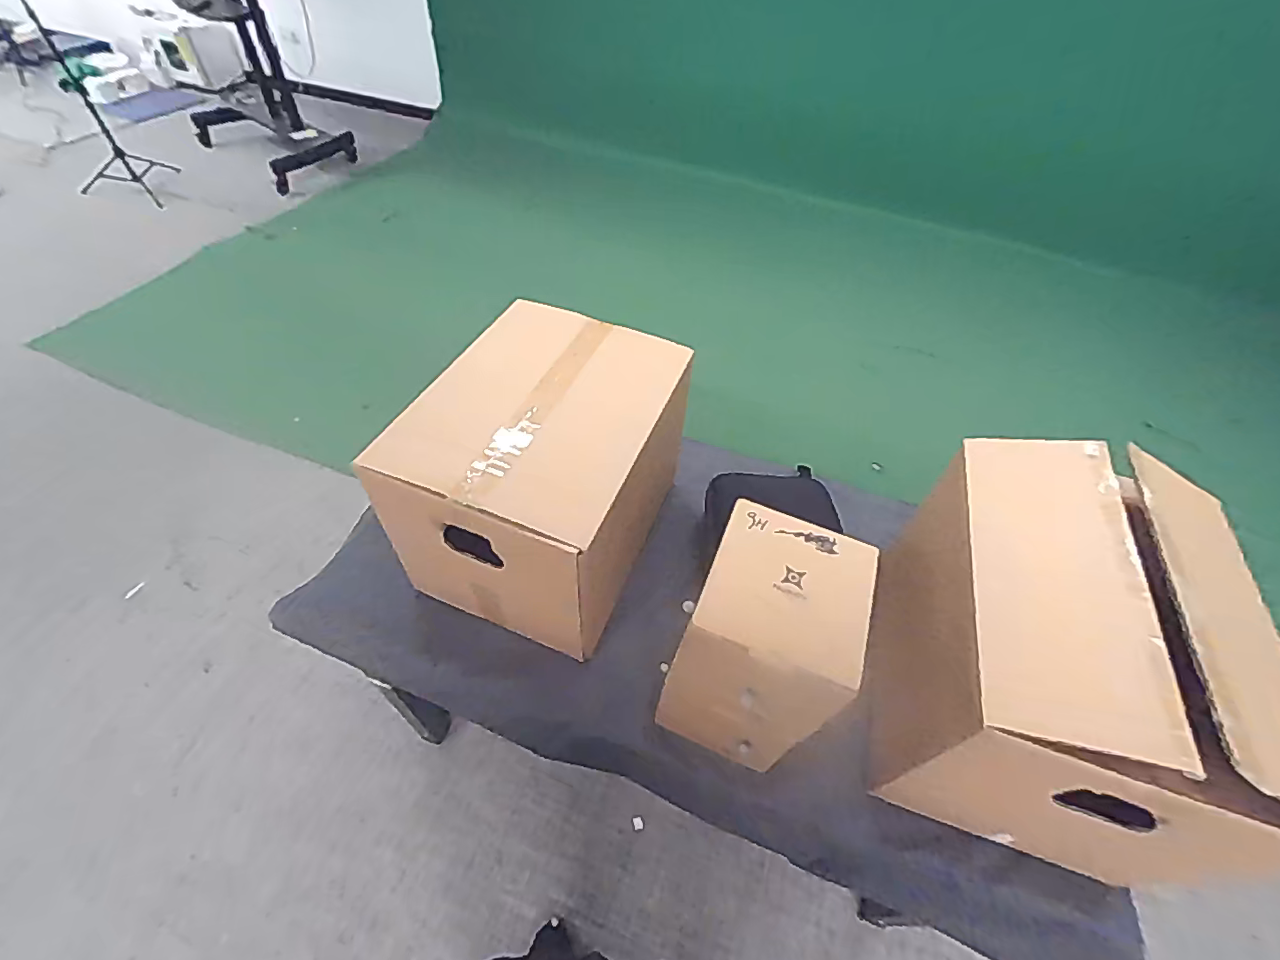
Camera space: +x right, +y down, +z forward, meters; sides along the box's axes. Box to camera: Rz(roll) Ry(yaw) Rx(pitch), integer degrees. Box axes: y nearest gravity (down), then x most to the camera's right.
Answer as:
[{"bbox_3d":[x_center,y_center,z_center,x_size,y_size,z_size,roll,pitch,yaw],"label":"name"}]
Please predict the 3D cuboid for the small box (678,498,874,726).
[{"bbox_3d":[0.150,0.158,0.631,0.168,0.176,0.179,20,53,10],"label":"small box"}]
